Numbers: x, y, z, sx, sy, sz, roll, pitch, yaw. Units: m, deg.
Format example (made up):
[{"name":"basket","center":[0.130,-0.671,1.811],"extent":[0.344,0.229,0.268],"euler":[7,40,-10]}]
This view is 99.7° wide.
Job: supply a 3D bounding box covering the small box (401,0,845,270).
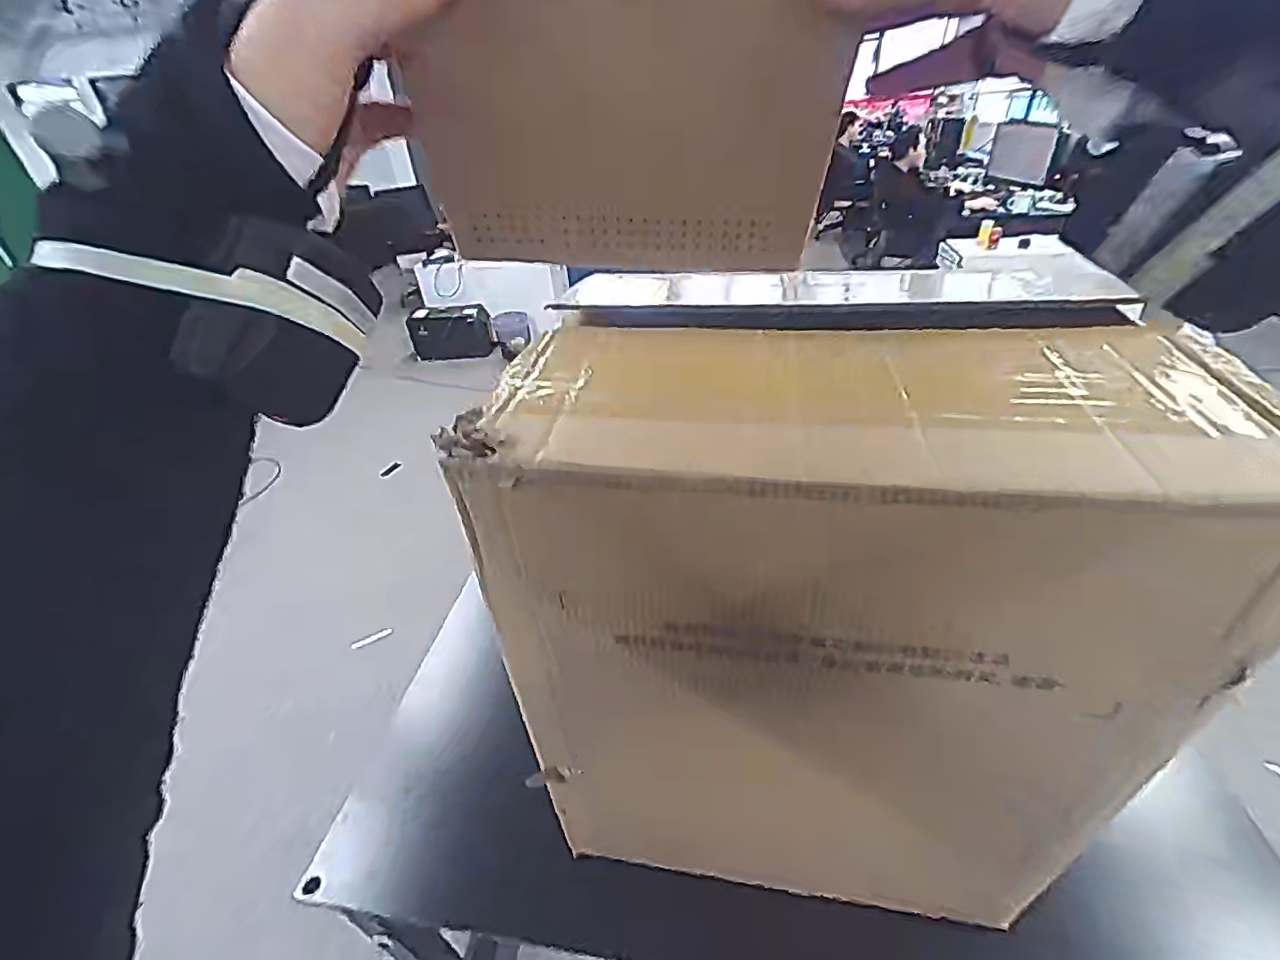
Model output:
[{"name":"small box","center":[-0.005,-0.221,0.259],"extent":[0.179,0.176,0.168],"euler":[3,57,2]}]
